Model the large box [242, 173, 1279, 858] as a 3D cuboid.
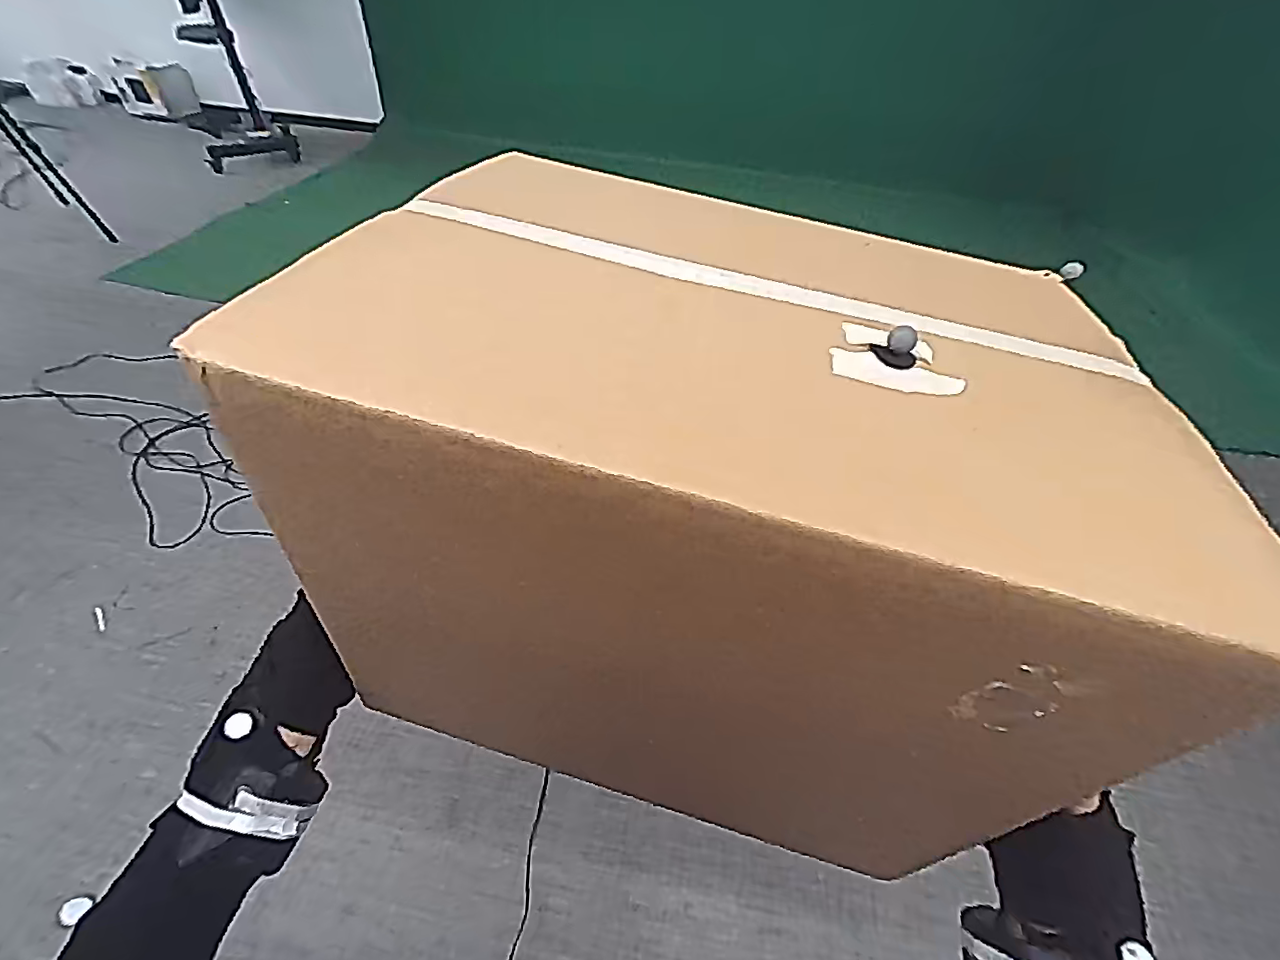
[{"bbox_3d":[0.045,0.016,0.404,0.408,0.320,0.320,16,45,5],"label":"large box"}]
